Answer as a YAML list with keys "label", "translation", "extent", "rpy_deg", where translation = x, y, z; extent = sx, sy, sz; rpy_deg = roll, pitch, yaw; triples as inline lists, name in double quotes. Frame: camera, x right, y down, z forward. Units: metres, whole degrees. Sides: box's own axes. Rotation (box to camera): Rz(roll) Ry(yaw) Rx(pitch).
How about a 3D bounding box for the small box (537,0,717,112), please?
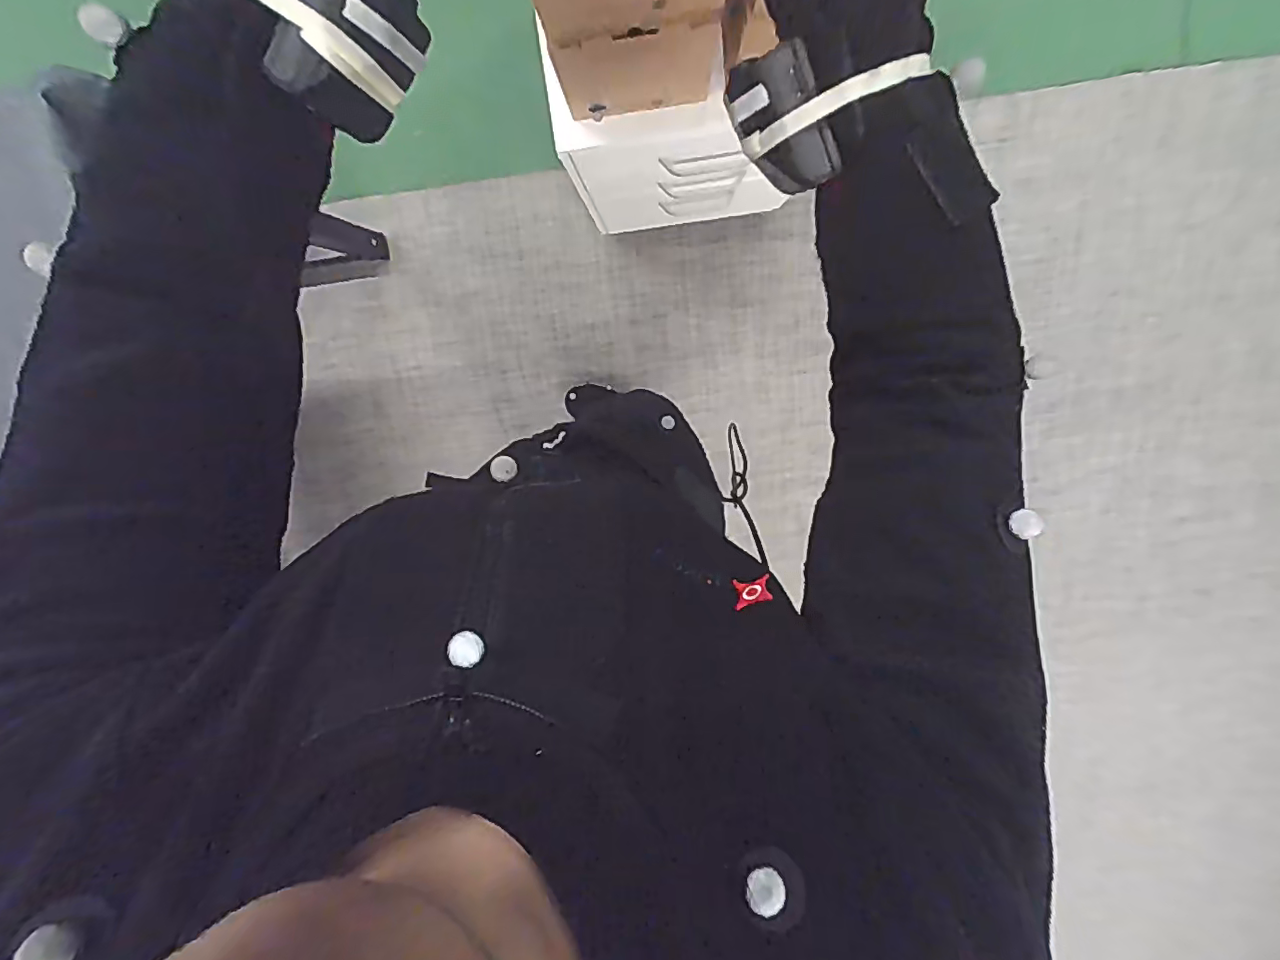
- label: "small box"
  translation: [-0.016, -0.507, 0.553]
  extent: [0.168, 0.176, 0.179]
  rpy_deg: [-6, 103, 2]
